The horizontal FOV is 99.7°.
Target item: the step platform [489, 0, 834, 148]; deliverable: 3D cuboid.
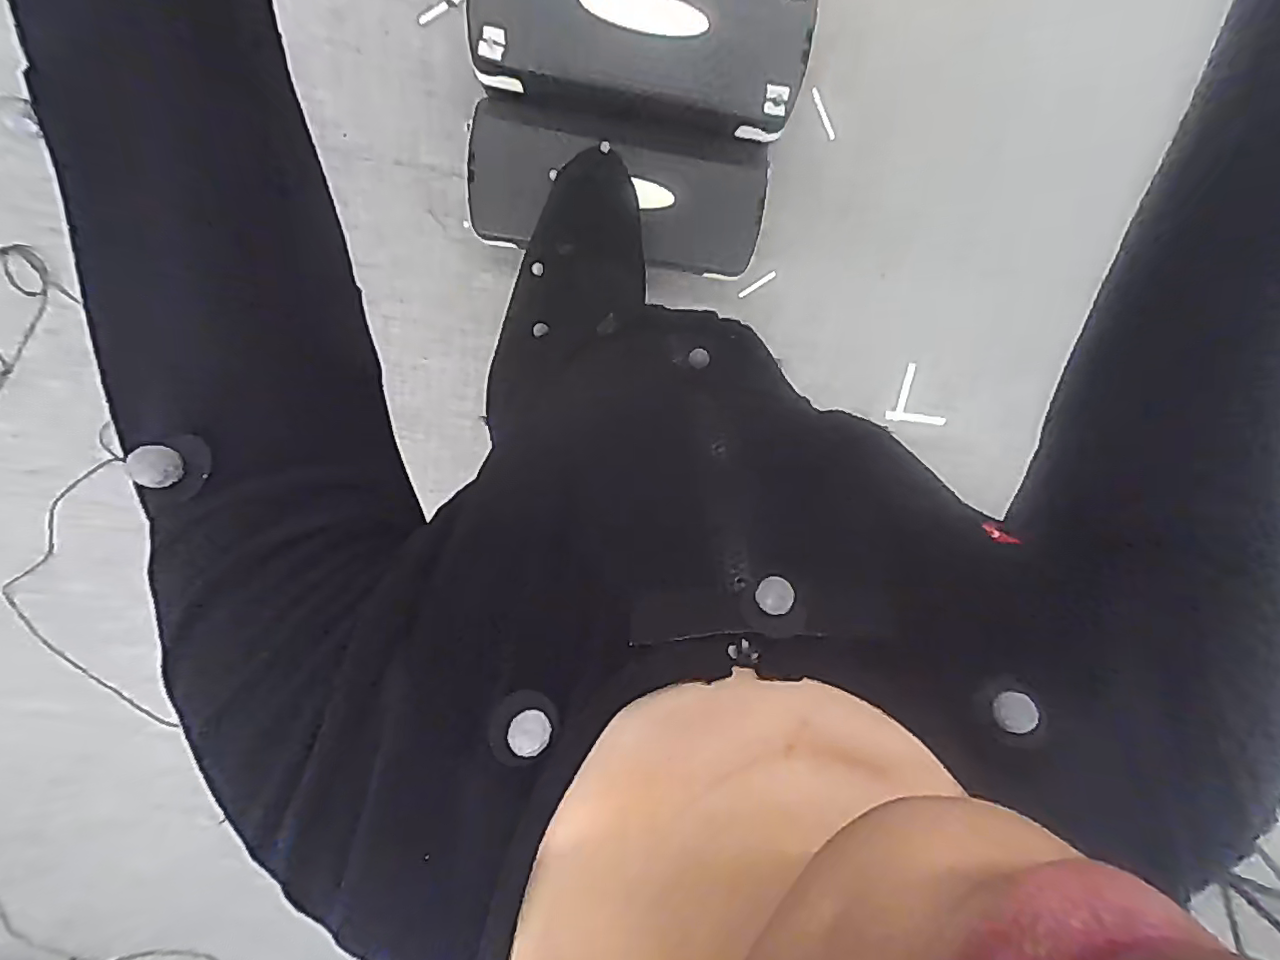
[{"bbox_3d":[0.039,-0.921,1.120,0.684,0.204,0.286,7,108,-6],"label":"step platform"}]
